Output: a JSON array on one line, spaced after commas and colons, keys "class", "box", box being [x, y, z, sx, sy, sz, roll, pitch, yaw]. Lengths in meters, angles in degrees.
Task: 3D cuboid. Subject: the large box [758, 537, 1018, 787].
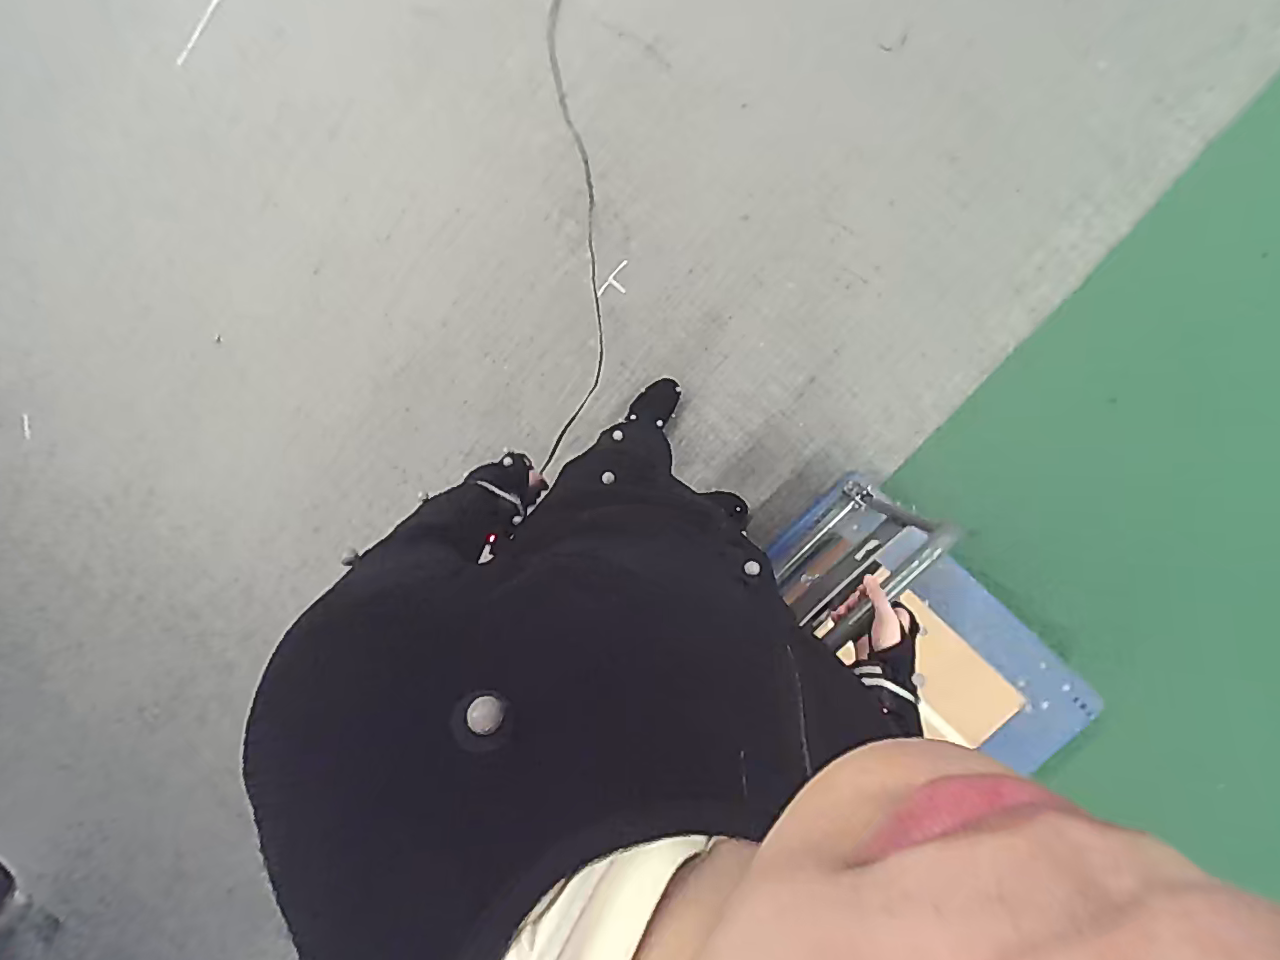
[{"class": "large box", "box": [0.543, 0.397, 1.276, 0.408, 0.320, 0.320, 44, 99, 1]}]
